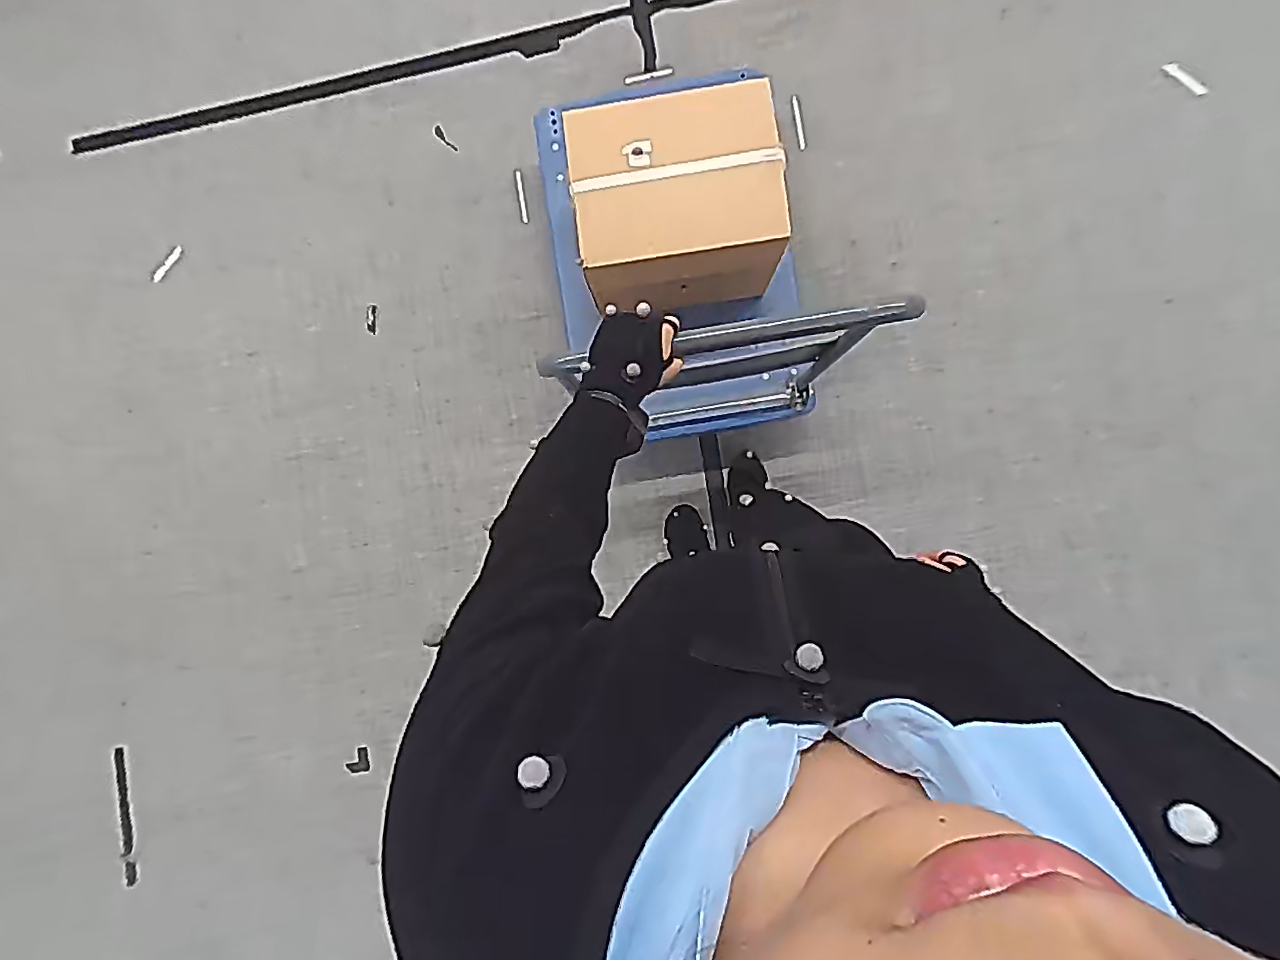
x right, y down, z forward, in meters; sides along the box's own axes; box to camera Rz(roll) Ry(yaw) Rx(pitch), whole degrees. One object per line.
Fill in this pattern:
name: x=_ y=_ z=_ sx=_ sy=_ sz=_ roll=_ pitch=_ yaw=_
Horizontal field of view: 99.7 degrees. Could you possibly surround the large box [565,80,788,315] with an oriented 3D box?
large box: x=0.080 y=-0.588 z=1.196 sx=0.408 sy=0.320 sz=0.320 roll=-8 pitch=87 yaw=4
